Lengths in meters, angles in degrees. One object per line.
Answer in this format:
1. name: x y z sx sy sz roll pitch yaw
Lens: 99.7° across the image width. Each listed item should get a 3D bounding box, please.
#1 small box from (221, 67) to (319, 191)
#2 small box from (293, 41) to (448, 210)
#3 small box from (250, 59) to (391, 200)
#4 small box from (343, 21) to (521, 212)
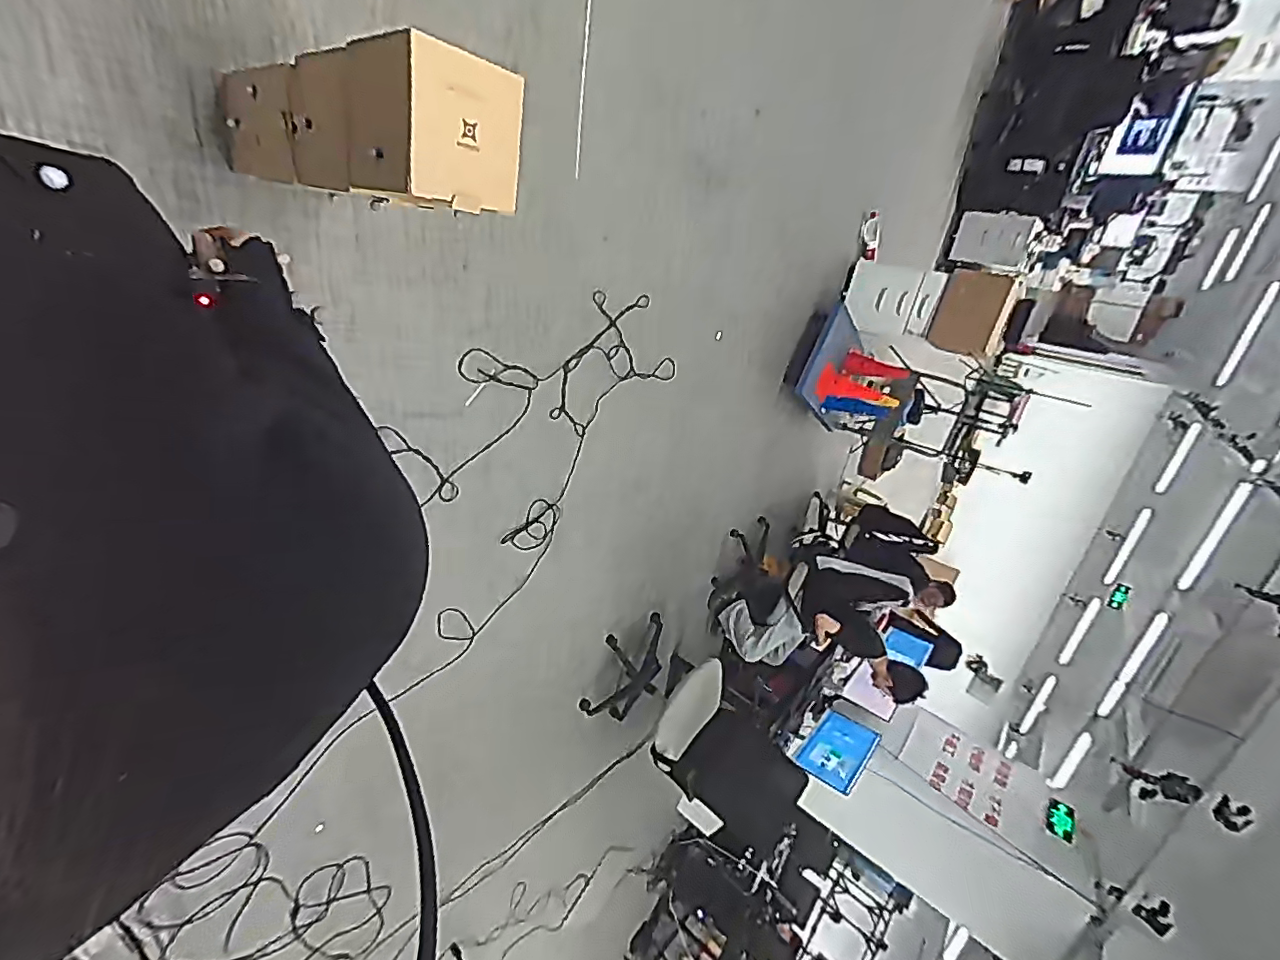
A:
1. small box: -0.655 -0.651 1.025 0.179 0.176 0.168 -16 123 -49
2. small box: -0.412 -0.537 0.837 0.168 0.176 0.179 -18 125 -50
3. small box: -0.540 -0.588 0.927 0.179 0.176 0.168 -20 126 -48
4. small box: -0.287 -0.485 0.747 0.168 0.176 0.179 -18 124 -49
